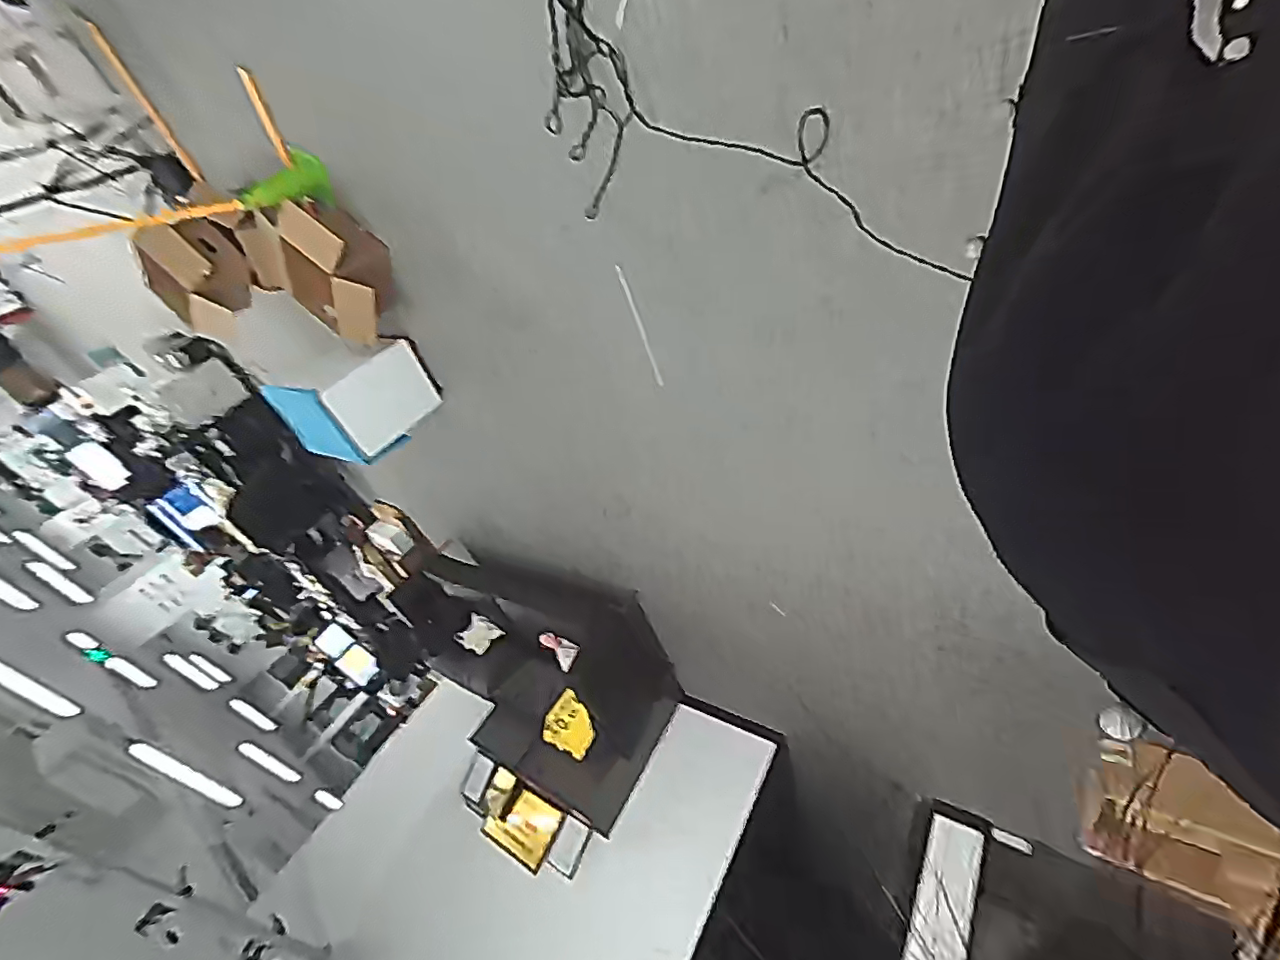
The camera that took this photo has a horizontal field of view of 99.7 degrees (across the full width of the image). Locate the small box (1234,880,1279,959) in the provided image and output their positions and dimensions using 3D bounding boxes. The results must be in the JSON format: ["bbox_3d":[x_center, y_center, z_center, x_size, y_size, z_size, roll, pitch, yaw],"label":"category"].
[{"bbox_3d":[1.511,1.067,1.233,0.179,0.176,0.168,46,145,-11],"label":"small box"}]

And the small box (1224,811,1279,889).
[{"bbox_3d":[1.584,0.959,1.333,0.179,0.176,0.168,50,145,-15],"label":"small box"}]
